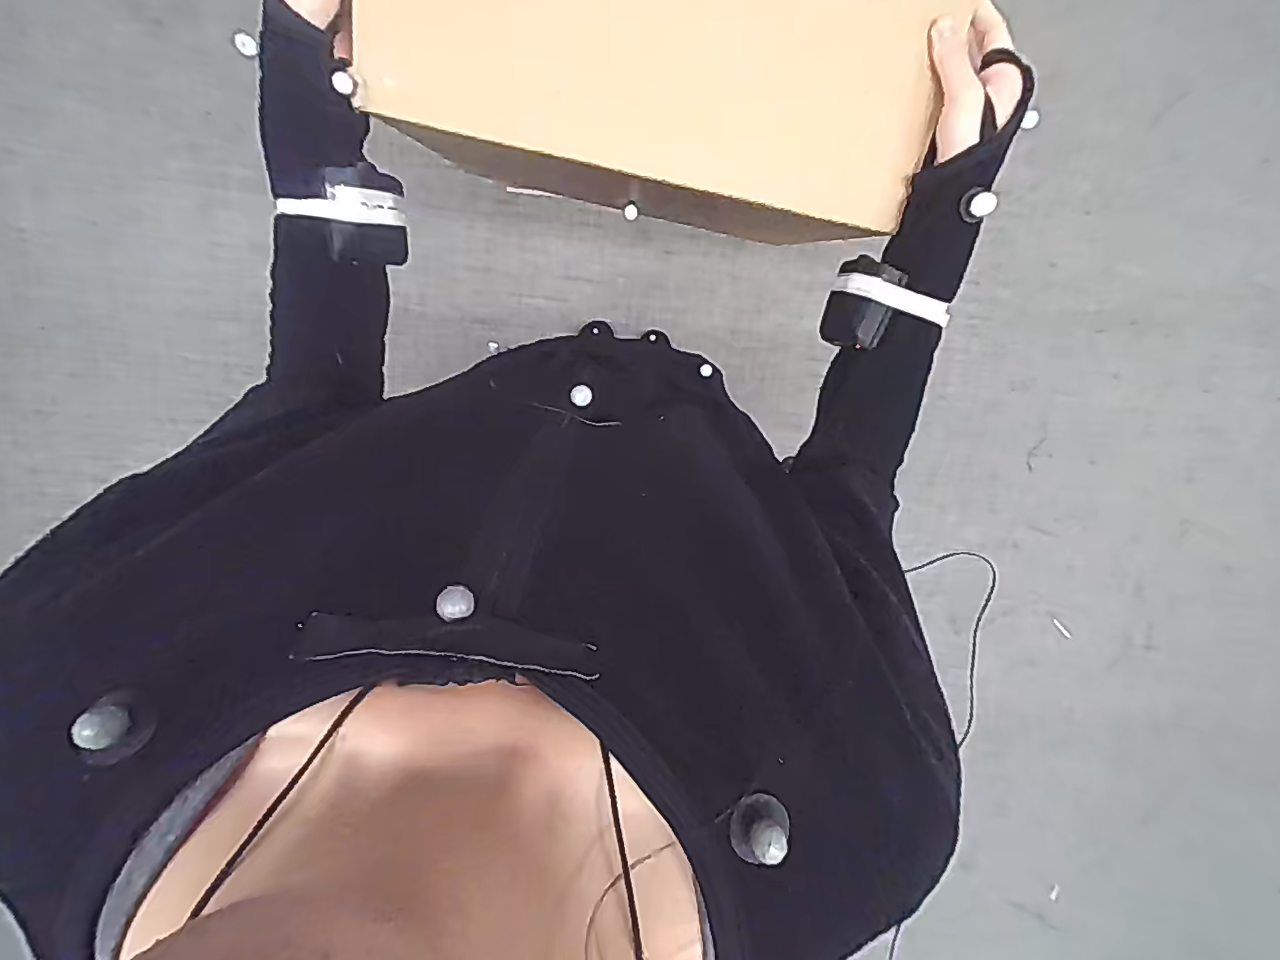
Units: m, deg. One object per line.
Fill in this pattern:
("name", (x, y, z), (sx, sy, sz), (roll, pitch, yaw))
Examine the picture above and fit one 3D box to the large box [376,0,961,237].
("large box", (0.027, -0.423, 0.494), (0.408, 0.320, 0.320), (10, 111, -7))
